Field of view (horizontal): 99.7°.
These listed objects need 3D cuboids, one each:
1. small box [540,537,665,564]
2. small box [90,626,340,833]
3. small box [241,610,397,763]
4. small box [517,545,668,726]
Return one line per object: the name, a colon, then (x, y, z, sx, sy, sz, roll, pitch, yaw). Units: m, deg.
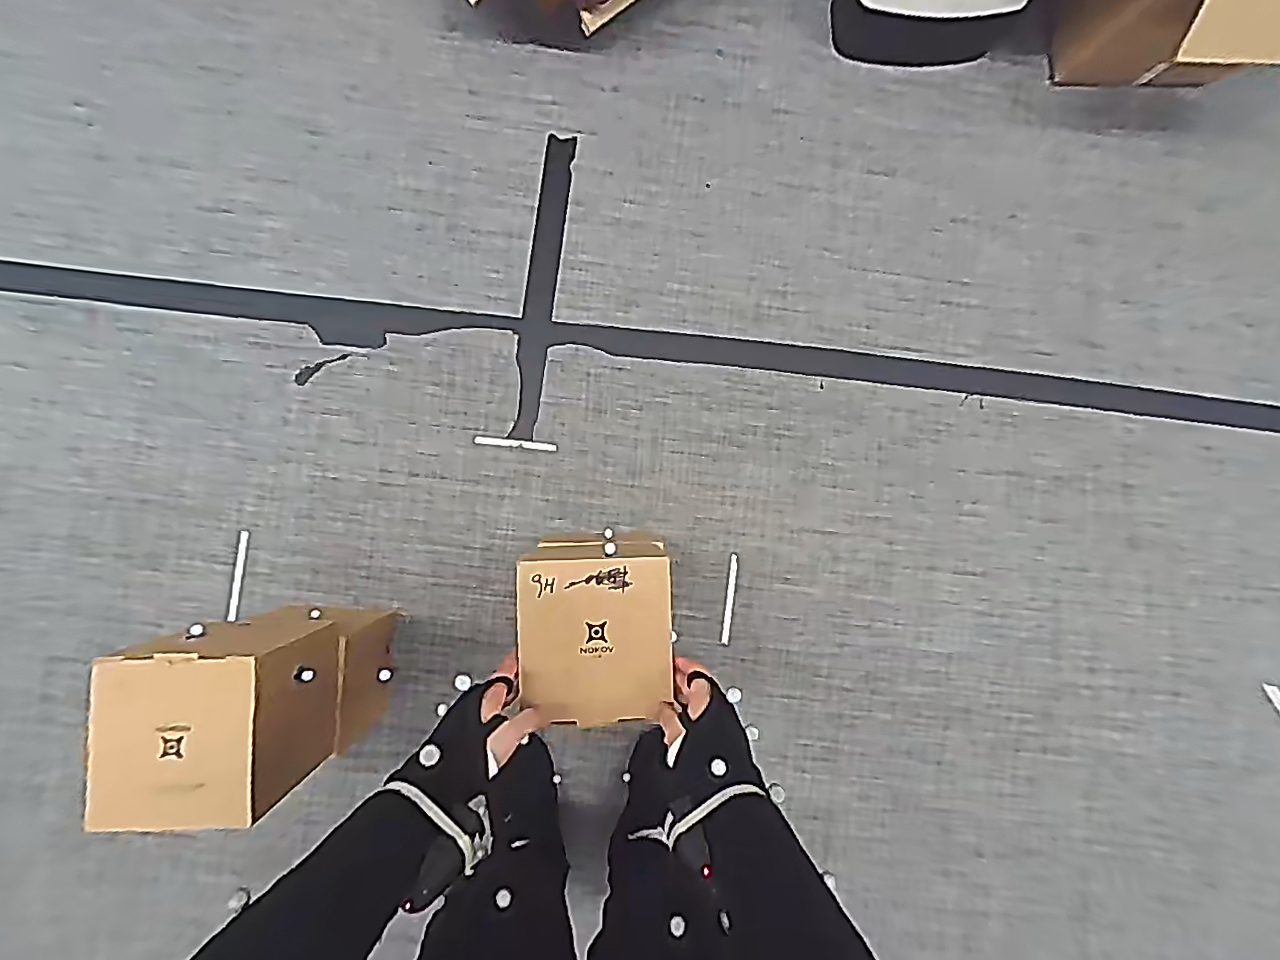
small box: (-0.058, 0.175, 0.822, 0.179, 0.176, 0.168, 0, 87, -3)
small box: (-0.475, 0.273, 0.632, 0.168, 0.176, 0.179, 0, 89, -2)
small box: (-0.484, 0.291, 0.793, 0.179, 0.176, 0.168, 3, 88, -3)
small box: (-0.053, 0.176, 0.659, 0.168, 0.176, 0.179, -1, 89, -3)
